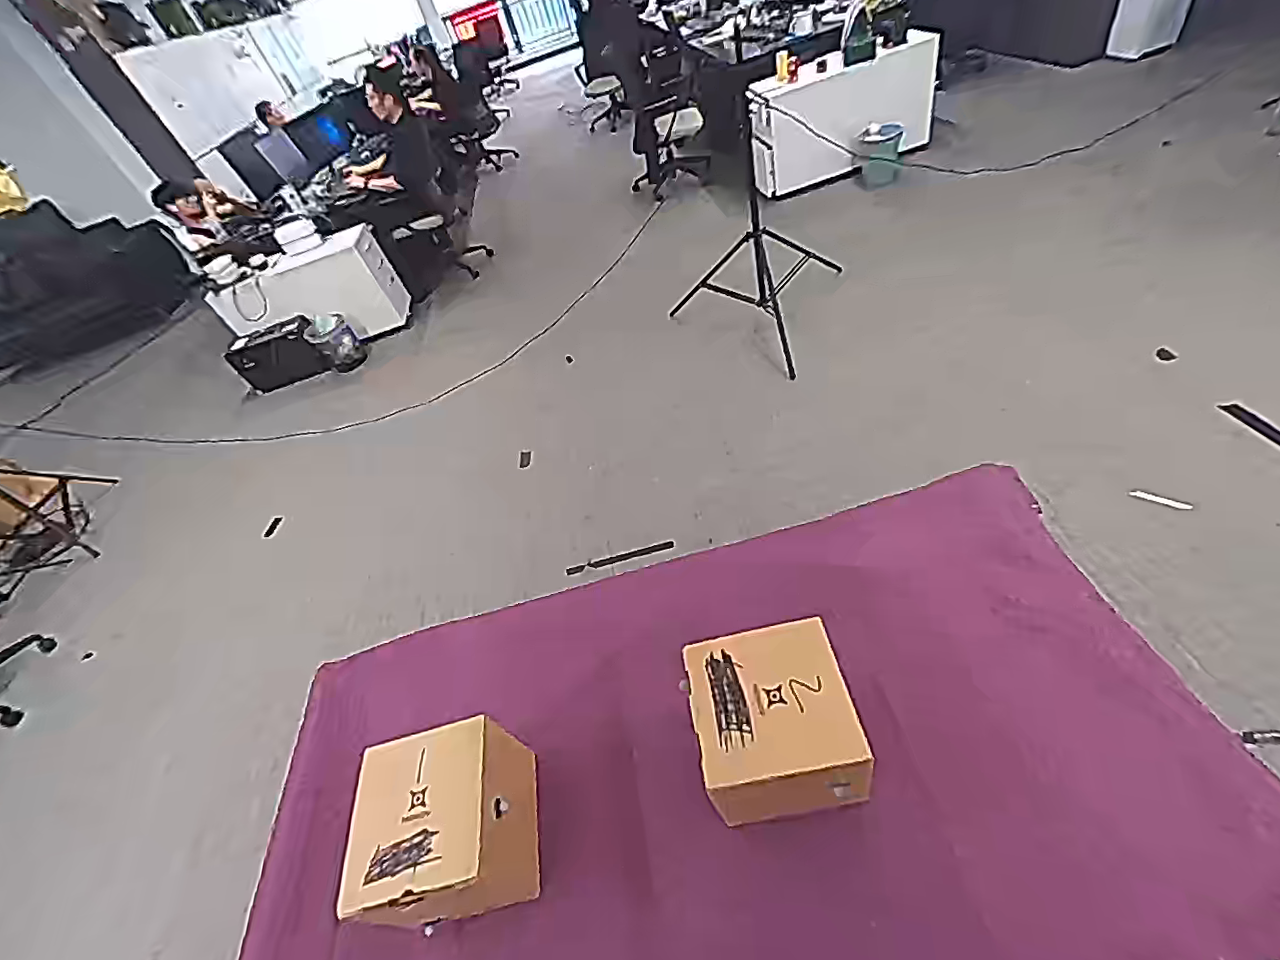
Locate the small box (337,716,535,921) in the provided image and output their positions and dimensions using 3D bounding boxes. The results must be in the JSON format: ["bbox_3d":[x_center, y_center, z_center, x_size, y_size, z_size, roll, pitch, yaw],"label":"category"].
[{"bbox_3d":[-0.240,0.433,0.685,0.168,0.176,0.179,-17,45,3],"label":"small box"}]
